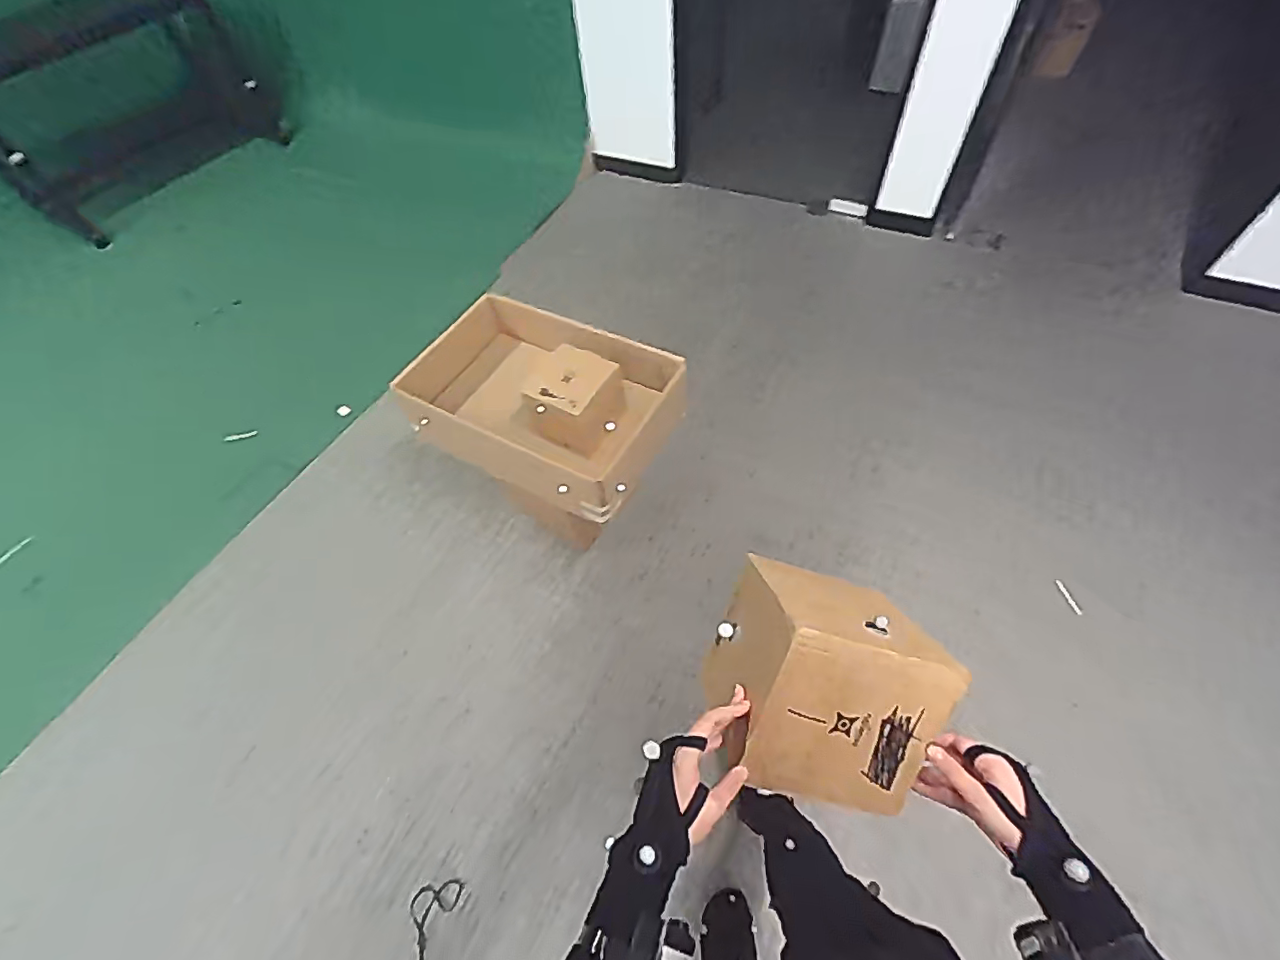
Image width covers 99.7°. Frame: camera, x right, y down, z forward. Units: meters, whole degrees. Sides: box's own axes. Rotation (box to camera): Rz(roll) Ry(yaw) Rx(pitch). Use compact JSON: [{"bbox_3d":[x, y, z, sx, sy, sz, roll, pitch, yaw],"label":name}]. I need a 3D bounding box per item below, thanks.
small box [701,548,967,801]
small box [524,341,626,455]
[{"bbox_3d":[0.180,0.187,0.561,0.179,0.176,0.168,16,102,-8],"label":"small box"},{"bbox_3d":[-0.146,-0.194,1.289,0.168,0.176,0.179,25,62,22],"label":"small box"}]
